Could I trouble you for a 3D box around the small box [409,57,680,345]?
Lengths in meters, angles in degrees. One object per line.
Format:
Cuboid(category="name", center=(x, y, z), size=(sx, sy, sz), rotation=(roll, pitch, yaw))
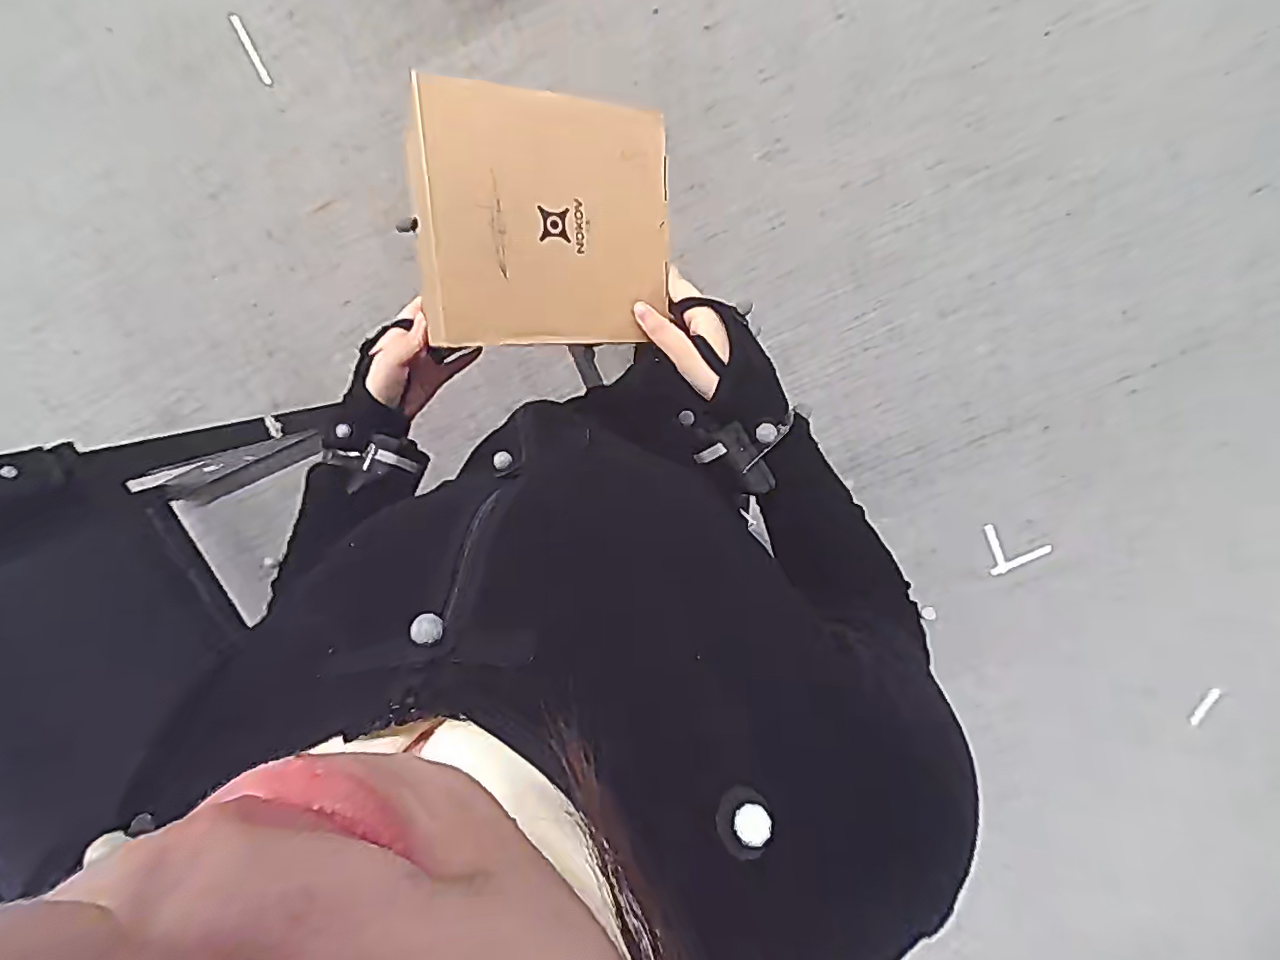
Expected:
Cuboid(category="small box", center=(-0.084, -0.198, 0.443), size=(0.179, 0.176, 0.168), rotation=(-7, 105, -24))
